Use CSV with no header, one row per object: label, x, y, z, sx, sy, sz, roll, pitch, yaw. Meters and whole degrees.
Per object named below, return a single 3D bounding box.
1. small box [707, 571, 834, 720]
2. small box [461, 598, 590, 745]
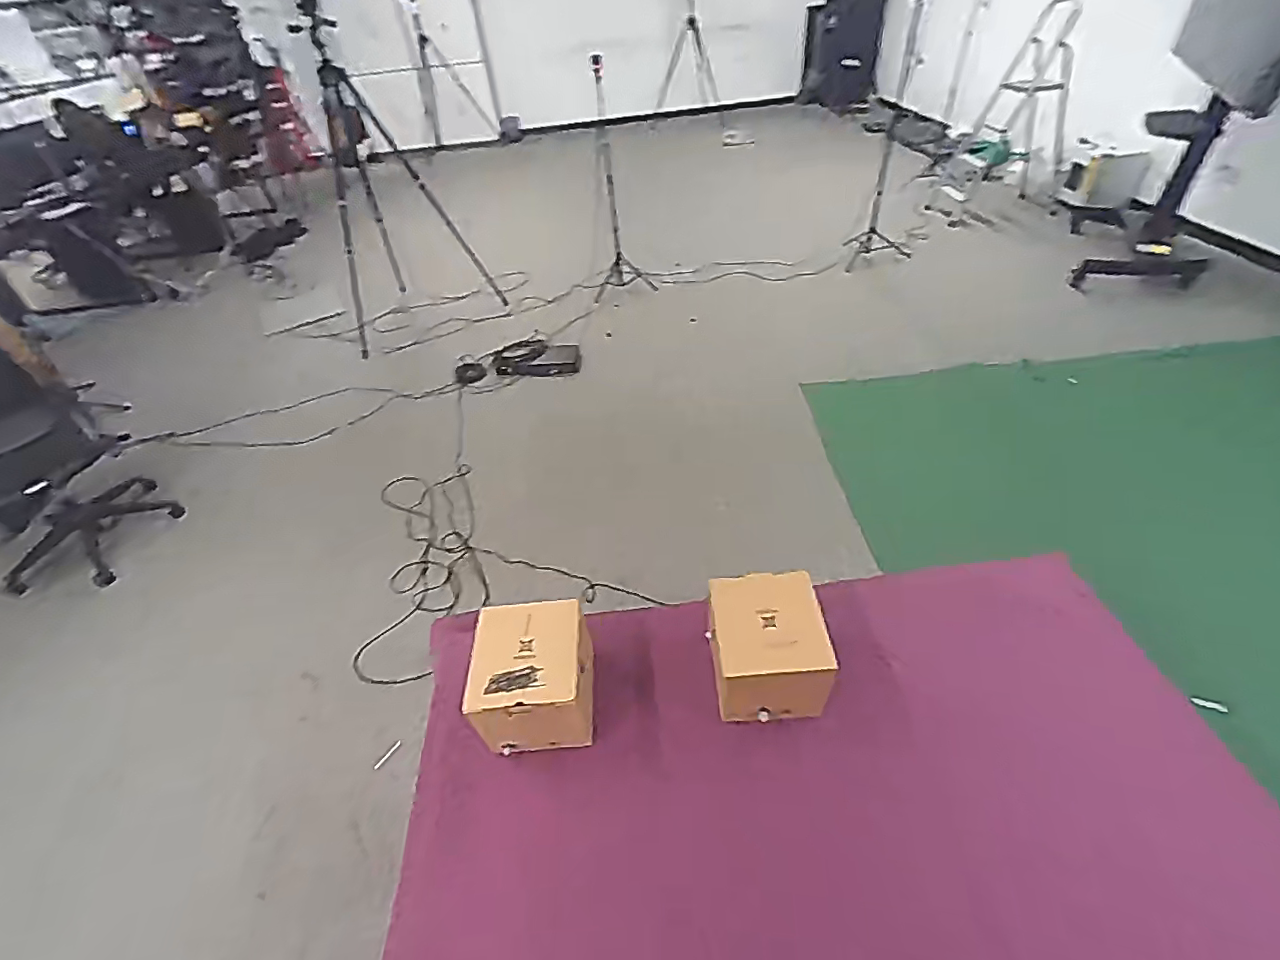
small box,0.202,0.273,0.892,0.168,0.176,0.179,-5,45,2
small box,-0.173,0.316,0.880,0.168,0.176,0.179,-5,45,0
